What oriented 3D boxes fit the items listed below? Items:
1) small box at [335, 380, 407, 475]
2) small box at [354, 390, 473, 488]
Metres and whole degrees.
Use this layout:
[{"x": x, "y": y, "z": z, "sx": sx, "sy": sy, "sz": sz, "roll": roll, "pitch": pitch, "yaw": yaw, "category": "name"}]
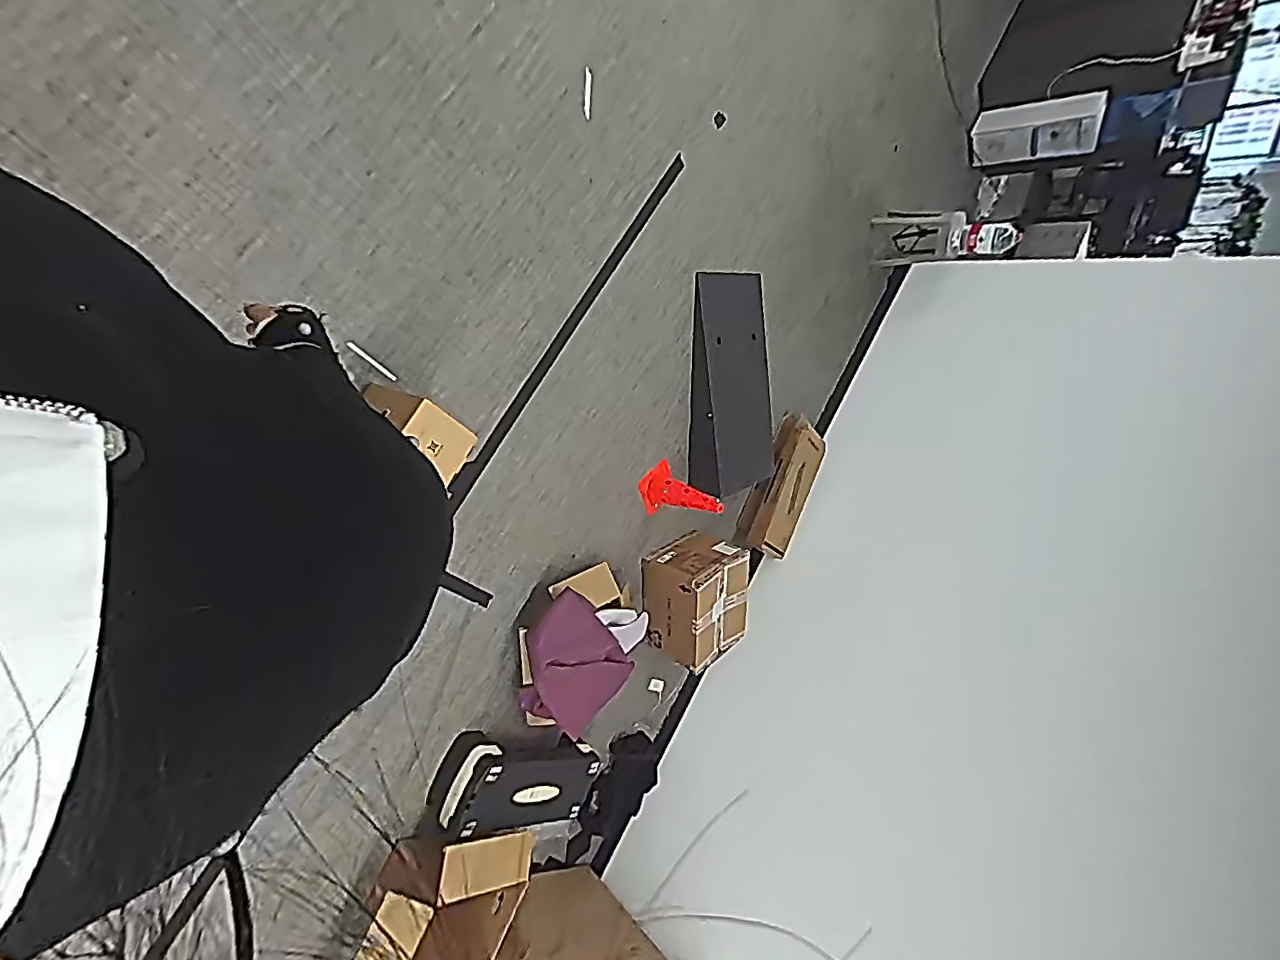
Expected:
[{"x": -0.672, "y": -0.142, "z": 1.432, "sx": 0.168, "sy": 0.176, "sz": 0.179, "roll": 42, "pitch": 72, "yaw": -48, "category": "small box"}, {"x": -0.556, "y": -0.105, "z": 1.325, "sx": 0.179, "sy": 0.176, "sz": 0.168, "roll": 43, "pitch": 70, "yaw": -46, "category": "small box"}]
